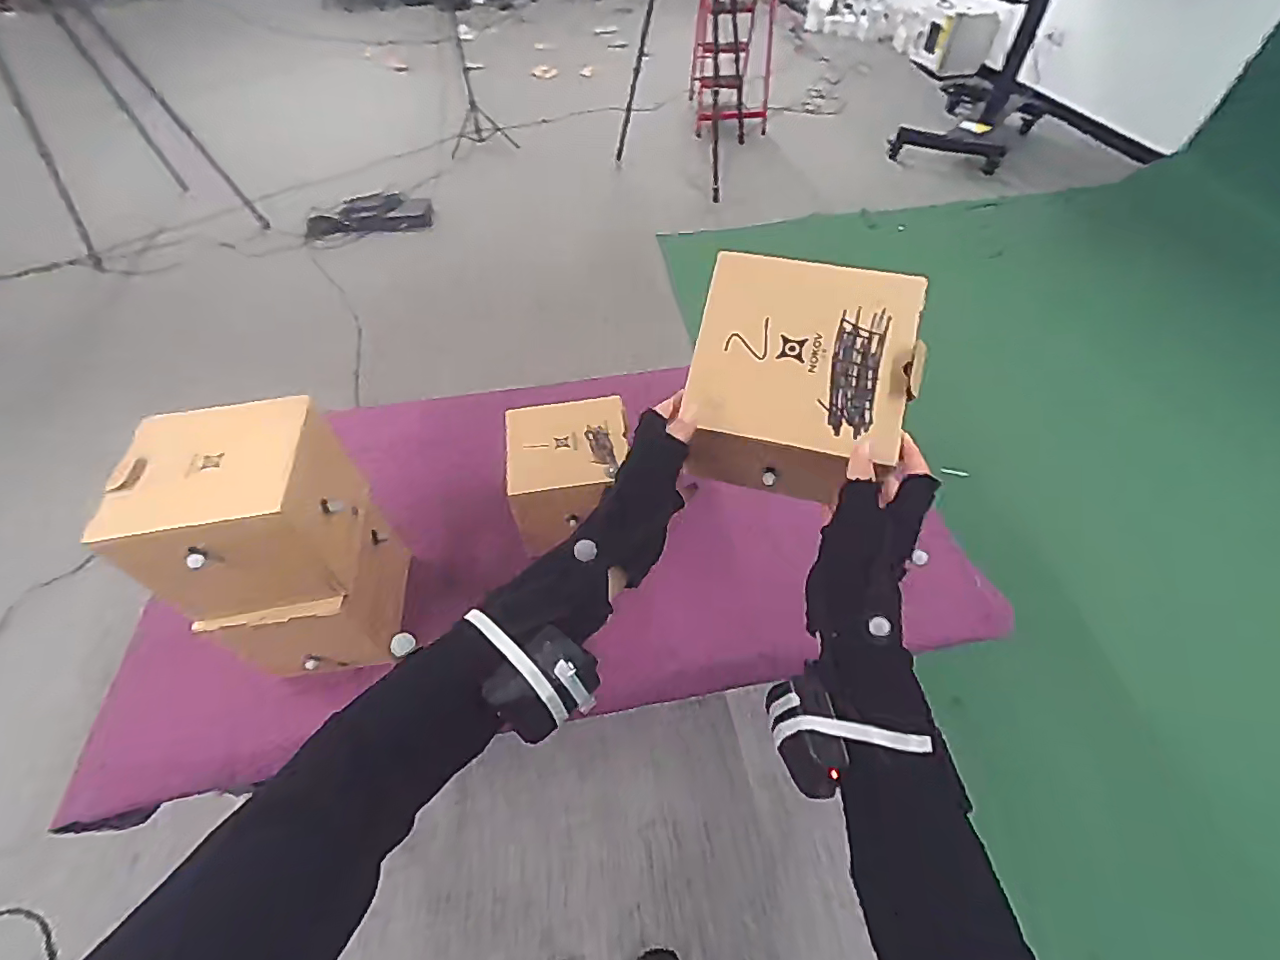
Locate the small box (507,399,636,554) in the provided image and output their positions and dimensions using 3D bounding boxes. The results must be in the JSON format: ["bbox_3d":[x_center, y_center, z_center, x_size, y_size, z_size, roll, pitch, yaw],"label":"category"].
[{"bbox_3d":[-0.103,-0.002,0.840,0.179,0.176,0.168,-8,53,-4],"label":"small box"}]

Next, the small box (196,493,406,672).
[{"bbox_3d":[-0.433,0.139,0.731,0.168,0.176,0.179,-6,53,-4],"label":"small box"}]

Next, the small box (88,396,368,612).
[{"bbox_3d":[-0.431,0.030,0.609,0.179,0.176,0.168,-9,53,-6],"label":"small box"}]
